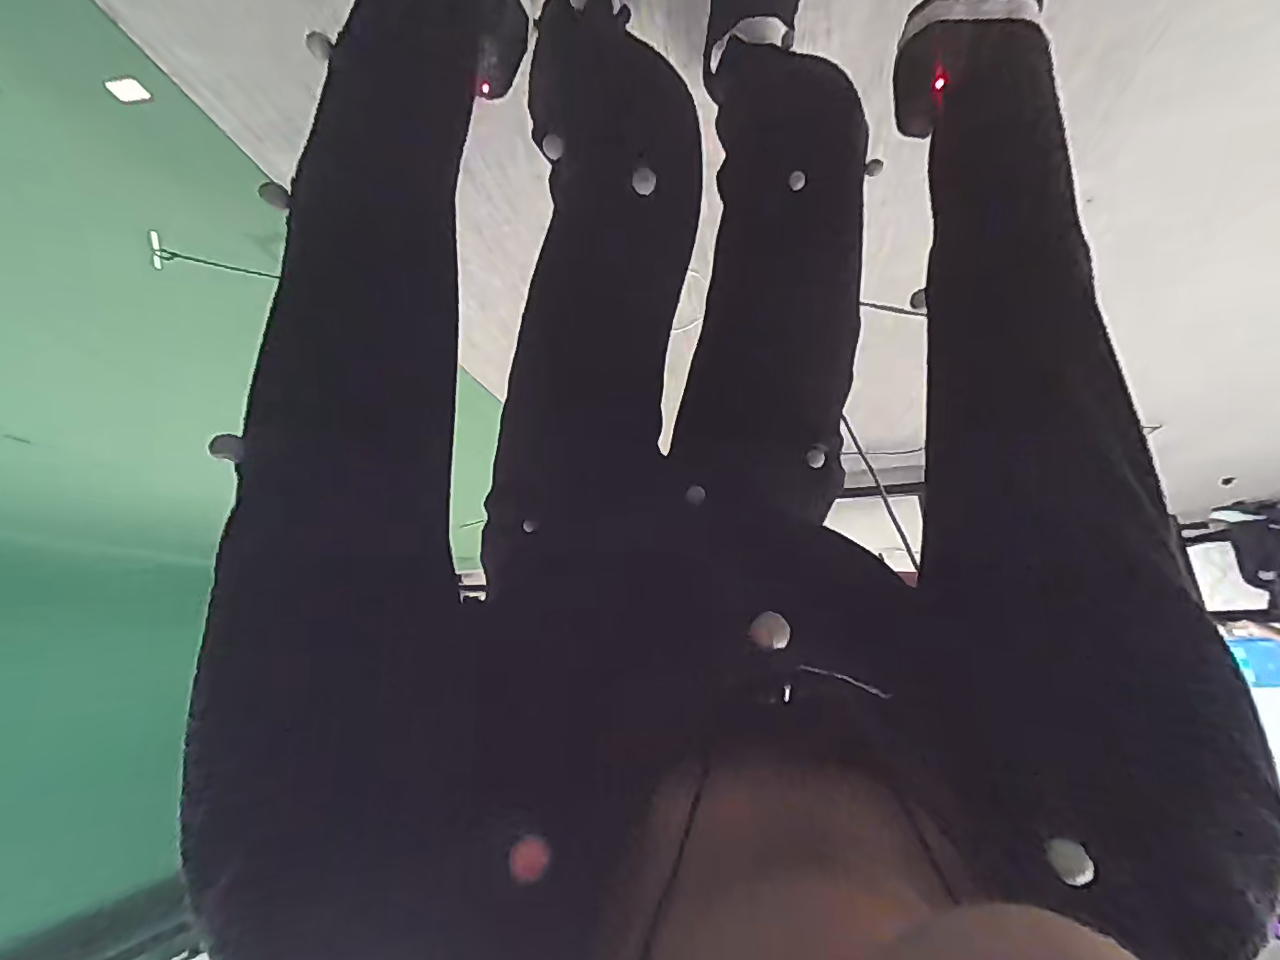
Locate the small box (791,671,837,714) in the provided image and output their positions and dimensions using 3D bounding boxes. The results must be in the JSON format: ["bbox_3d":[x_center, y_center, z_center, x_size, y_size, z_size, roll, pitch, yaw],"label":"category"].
[{"bbox_3d":[0.808,0.989,2.530,0.179,0.176,0.168,-4,167,7],"label":"small box"}]

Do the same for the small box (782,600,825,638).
[{"bbox_3d":[0.788,0.674,2.621,0.179,0.176,0.168,-3,167,7],"label":"small box"}]
